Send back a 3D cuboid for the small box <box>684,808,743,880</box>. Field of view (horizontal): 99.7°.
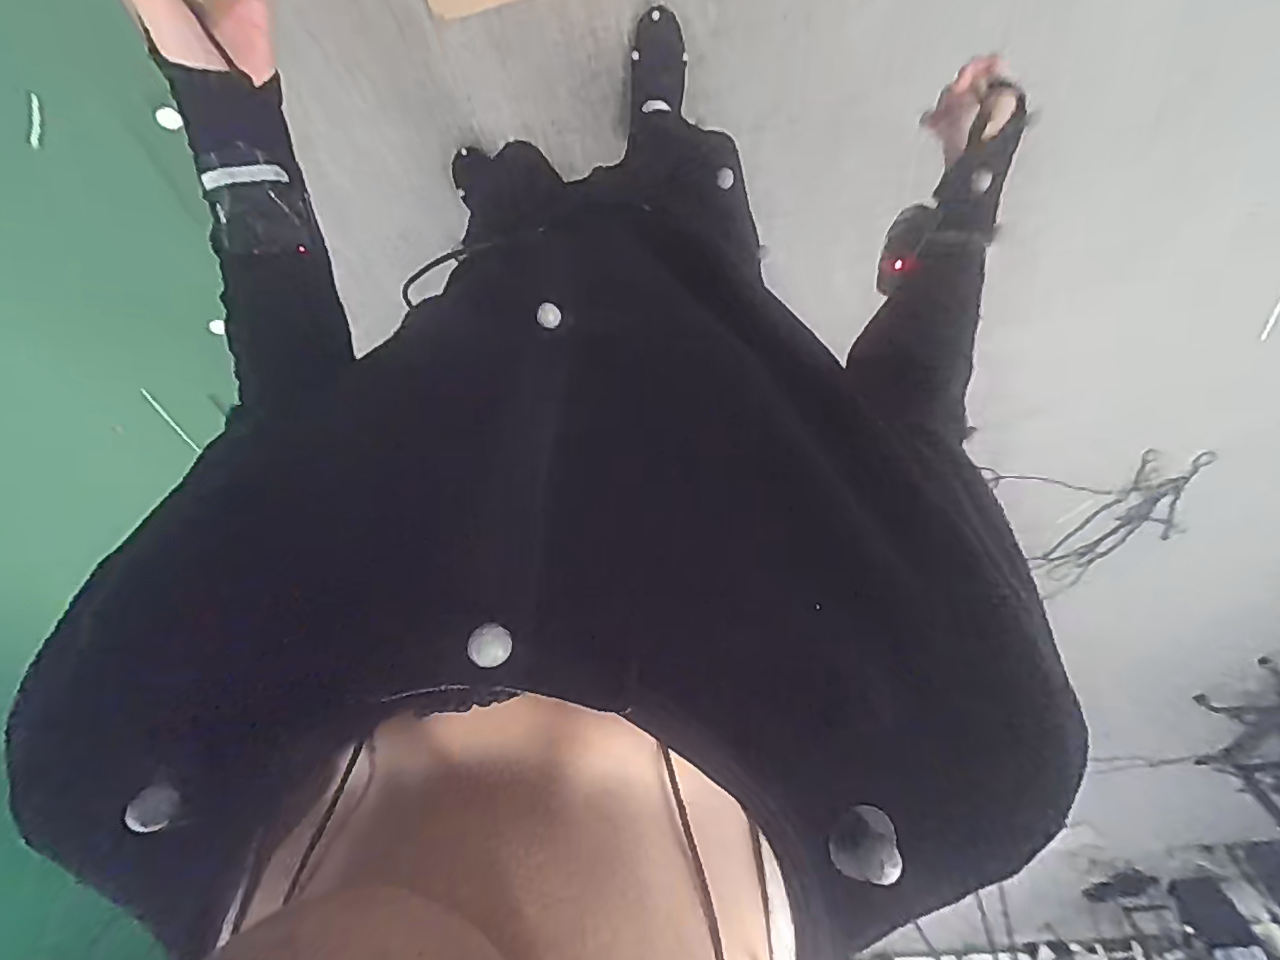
[{"bbox_3d":[0.258,1.279,1.904,0.179,0.176,0.168,-10,129,7],"label":"small box"}]
